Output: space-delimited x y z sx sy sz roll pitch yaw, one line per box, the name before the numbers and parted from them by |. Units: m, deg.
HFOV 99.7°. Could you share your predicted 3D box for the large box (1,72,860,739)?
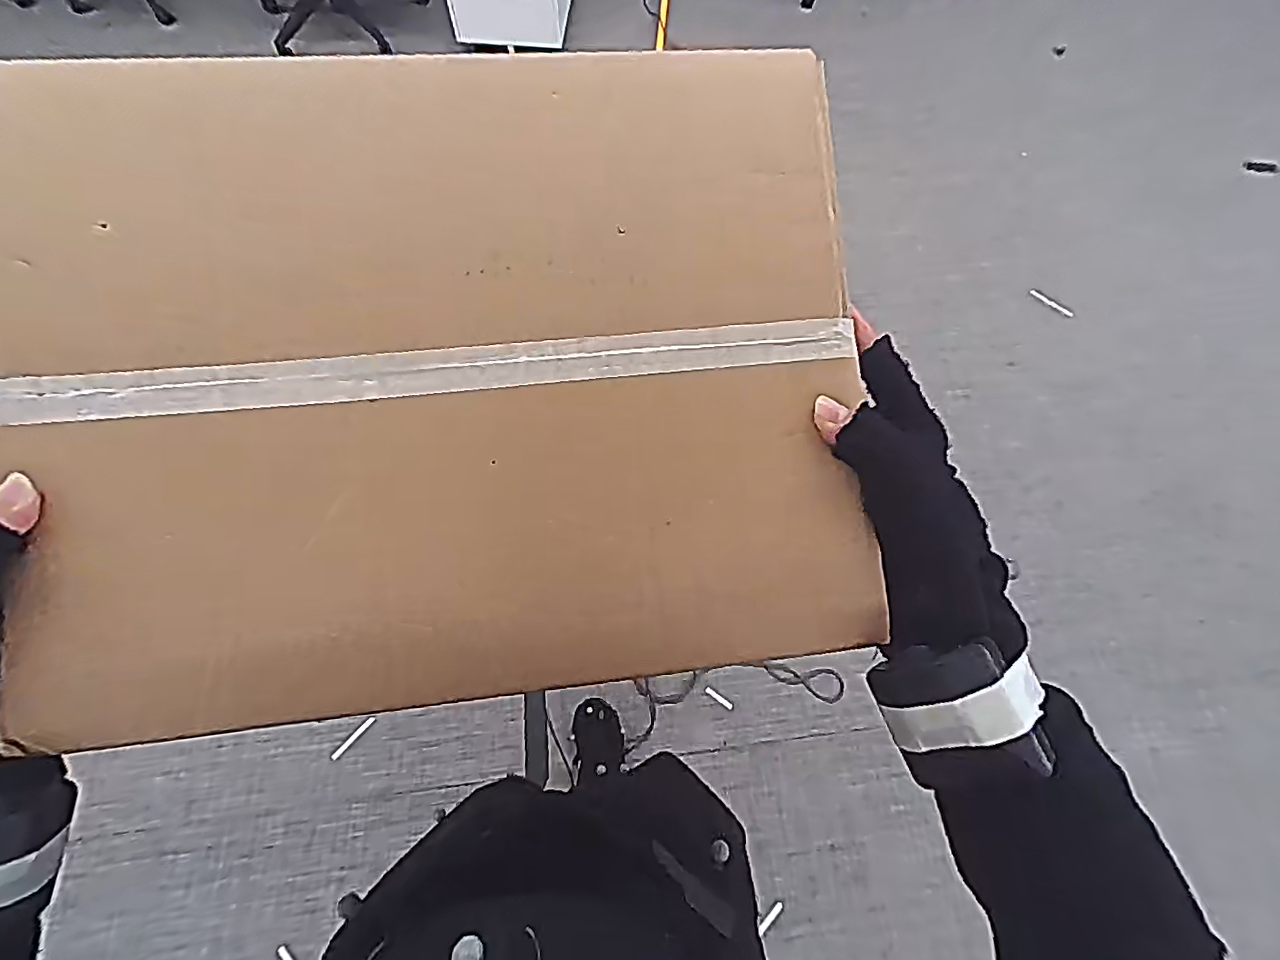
large box | -0.106 -0.047 0.420 0.408 0.320 0.320 -5 87 -6
